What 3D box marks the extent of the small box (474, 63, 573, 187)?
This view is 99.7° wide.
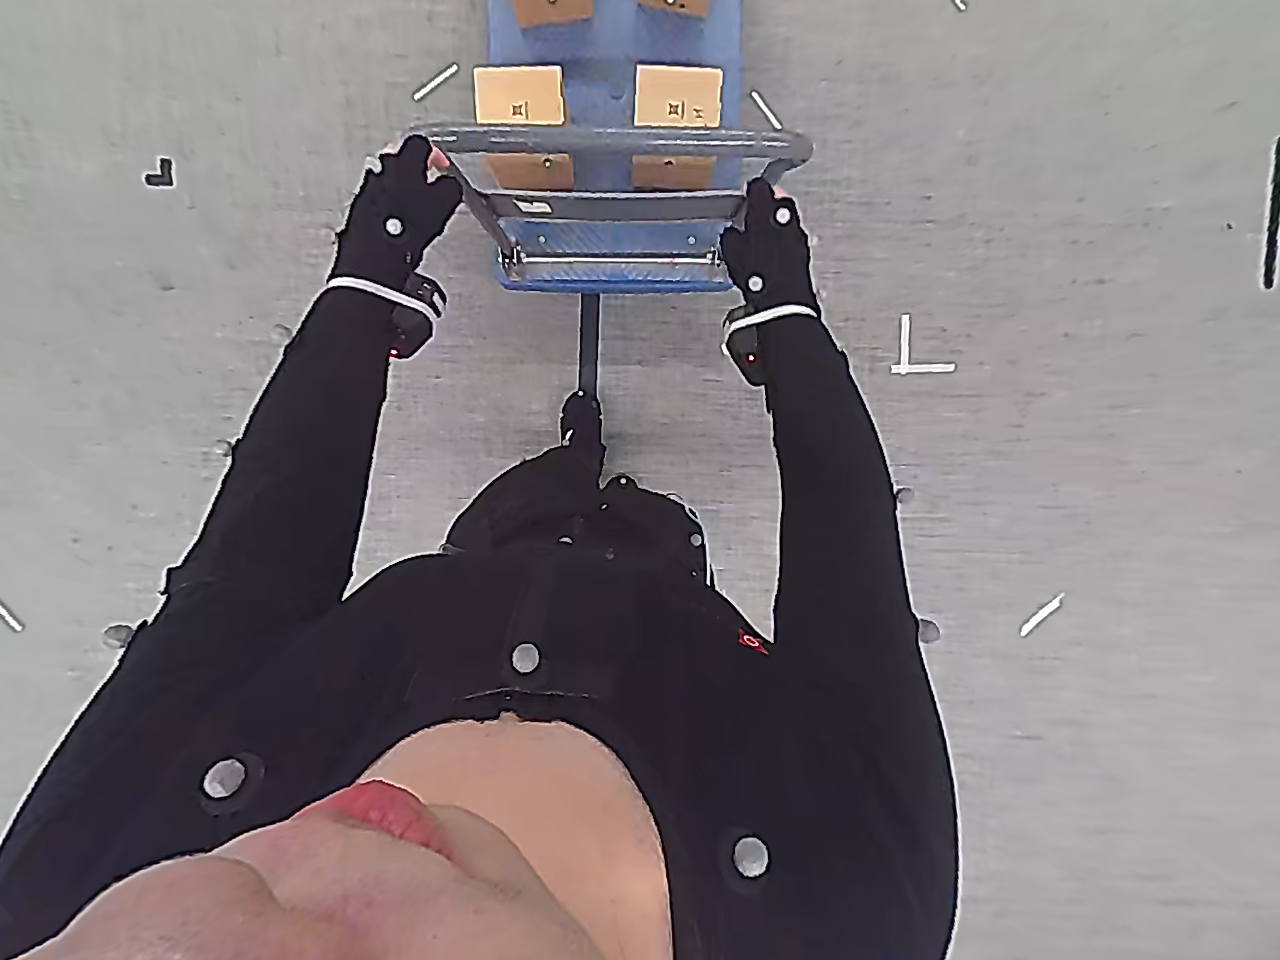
[{"bbox_3d":[-0.241,-0.747,1.155,0.179,0.176,0.168,-3,96,-2],"label":"small box"}]

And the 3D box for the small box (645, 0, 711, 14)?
[{"bbox_3d":[0.091,-1.133,1.119,0.168,0.176,0.179,11,97,-2],"label":"small box"}]

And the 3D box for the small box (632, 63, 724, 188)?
[{"bbox_3d":[0.075,-0.749,1.159,0.179,0.176,0.168,3,96,-1],"label":"small box"}]
